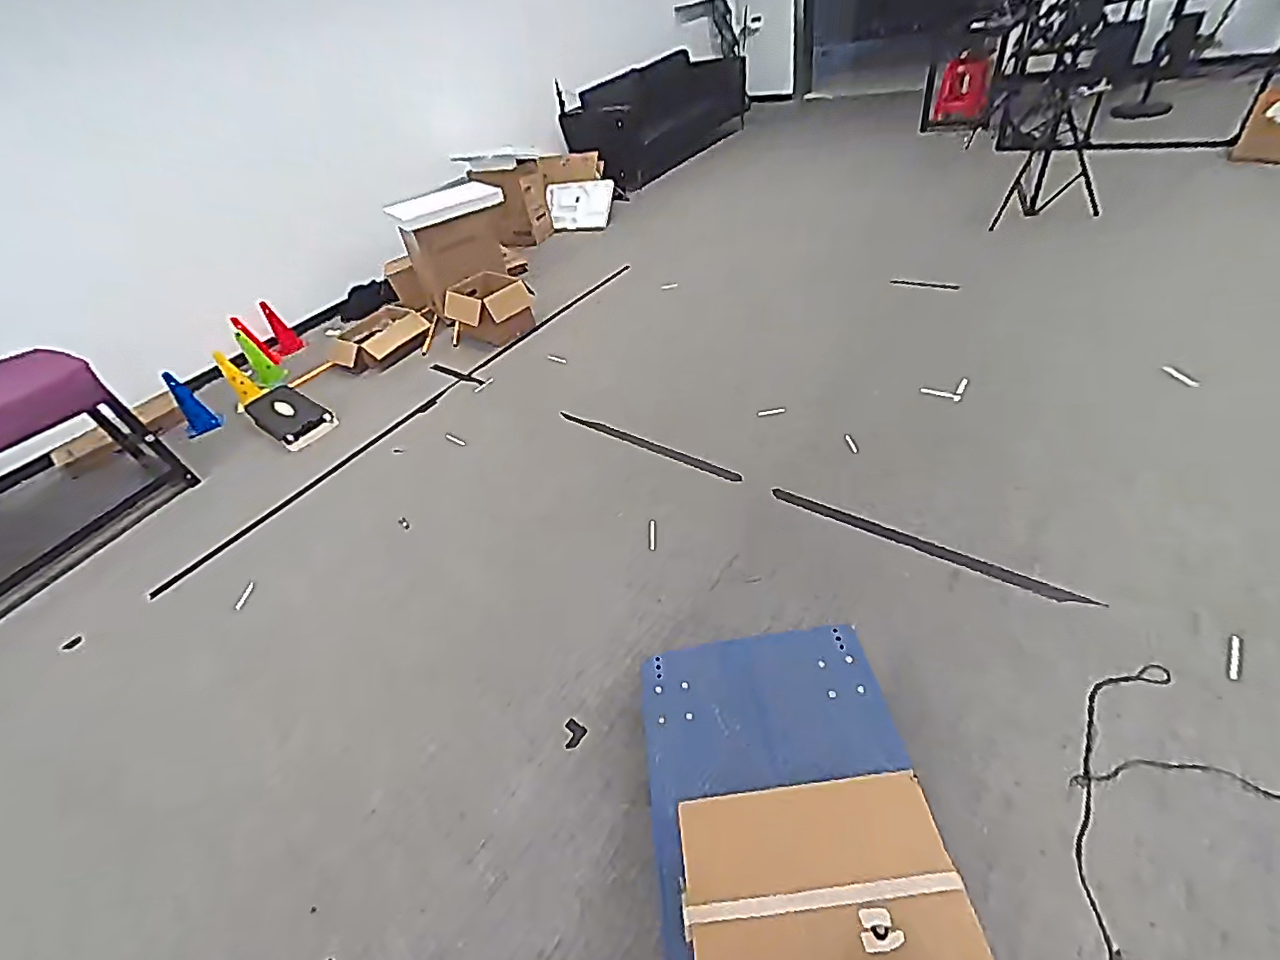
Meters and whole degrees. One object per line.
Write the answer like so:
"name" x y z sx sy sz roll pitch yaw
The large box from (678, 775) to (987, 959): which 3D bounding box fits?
"large box" 0.295 0.742 0.904 0.408 0.320 0.320 -10 42 3
